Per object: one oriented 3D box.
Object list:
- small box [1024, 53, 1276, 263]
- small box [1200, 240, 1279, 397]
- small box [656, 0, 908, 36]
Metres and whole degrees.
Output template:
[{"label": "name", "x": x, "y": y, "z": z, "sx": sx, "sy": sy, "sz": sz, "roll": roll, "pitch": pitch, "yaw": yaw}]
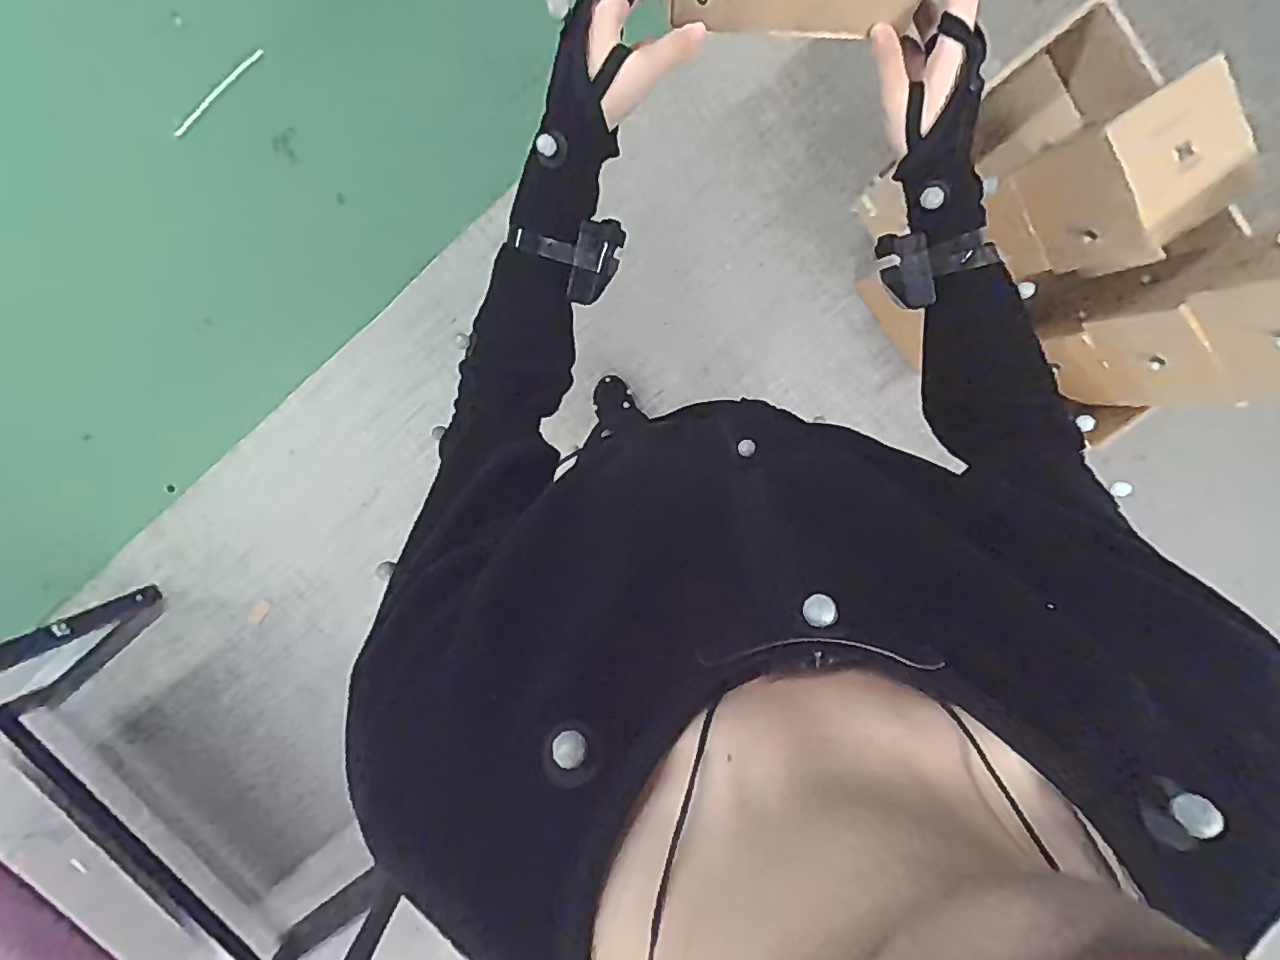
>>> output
[{"label": "small box", "x": 0.699, "y": -0.428, "z": 0.761, "sx": 0.168, "sy": 0.176, "sz": 0.179, "roll": -32, "pitch": 100, "yaw": 4}, {"label": "small box", "x": 0.837, "y": -0.205, "z": 0.627, "sx": 0.168, "sy": 0.176, "sz": 0.179, "roll": -34, "pitch": 96, "yaw": 6}, {"label": "small box", "x": 0.098, "y": -0.422, "z": 0.334, "sx": 0.179, "sy": 0.168, "sz": 0.176, "roll": -3, "pitch": 70, "yaw": -6}]
